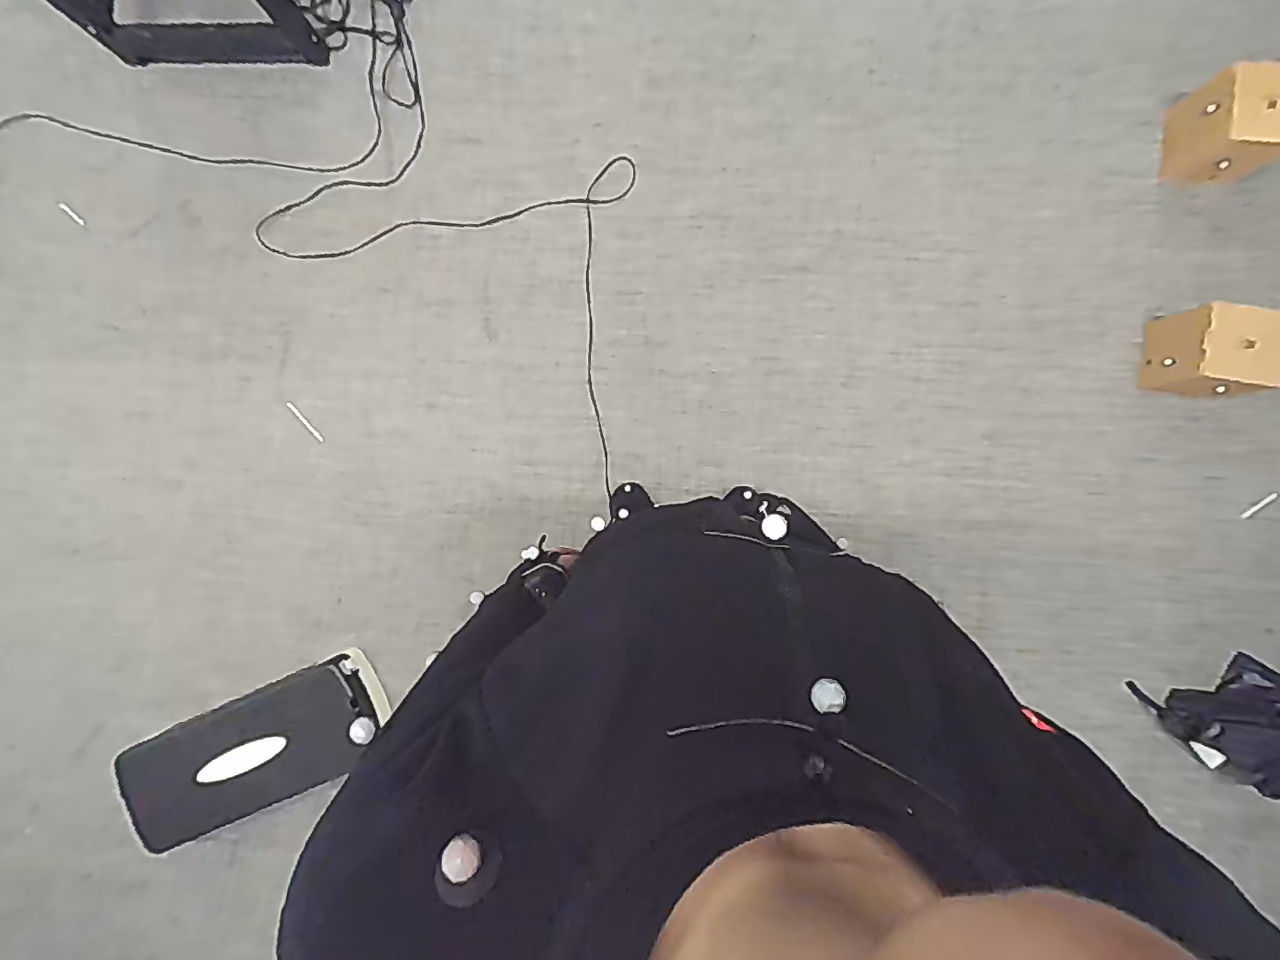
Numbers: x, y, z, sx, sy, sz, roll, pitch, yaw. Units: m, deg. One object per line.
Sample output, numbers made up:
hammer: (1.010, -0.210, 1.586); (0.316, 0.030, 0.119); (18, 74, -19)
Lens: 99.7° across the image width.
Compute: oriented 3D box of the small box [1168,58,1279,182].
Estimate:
small box: (1.370, -0.813, 1.236); (0.168, 0.176, 0.179); (6, 89, 4)

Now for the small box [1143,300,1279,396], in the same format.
small box: (1.314, -0.292, 1.234); (0.179, 0.176, 0.168); (10, 91, 3)
